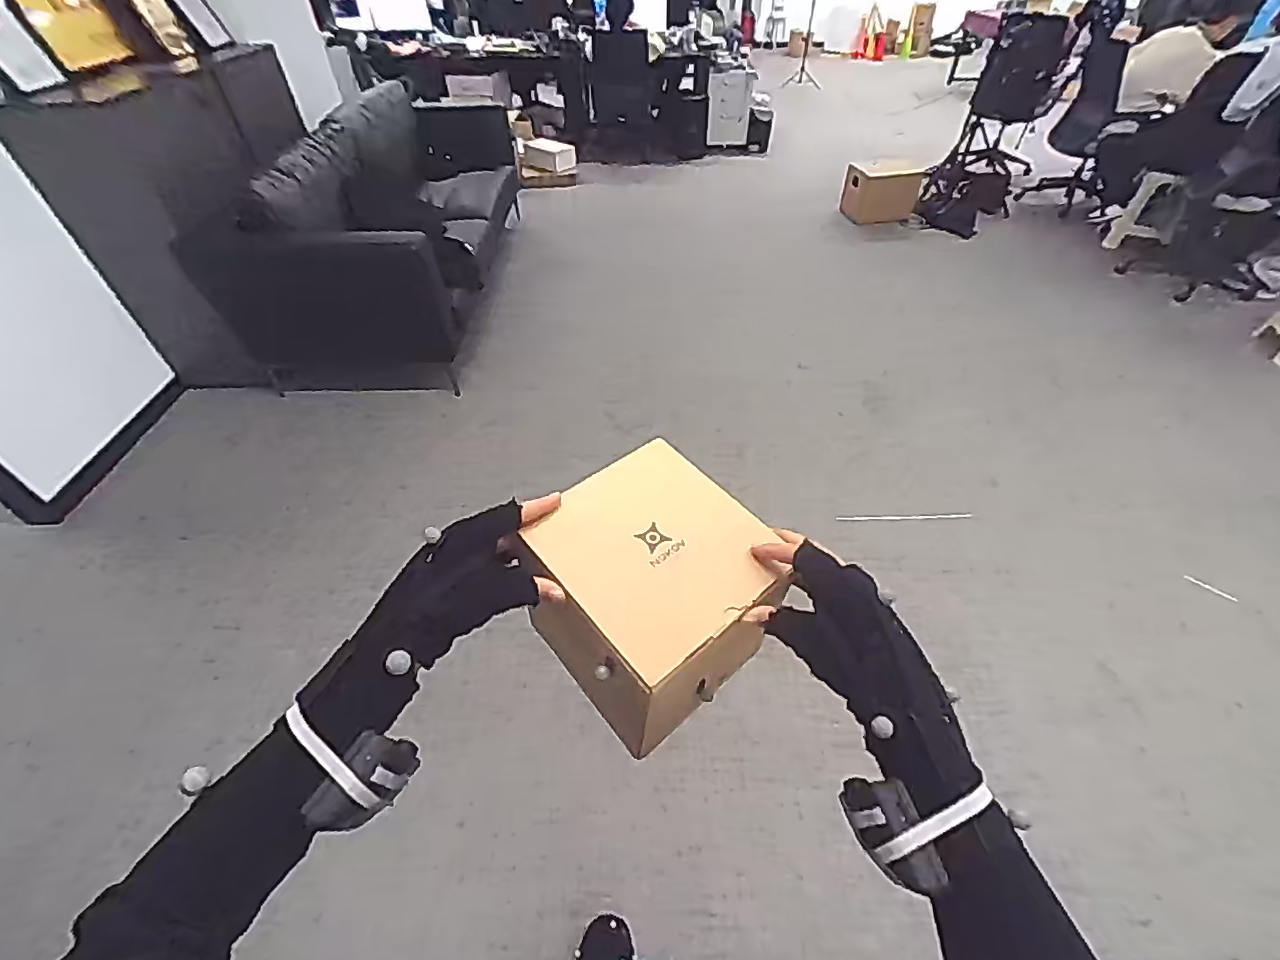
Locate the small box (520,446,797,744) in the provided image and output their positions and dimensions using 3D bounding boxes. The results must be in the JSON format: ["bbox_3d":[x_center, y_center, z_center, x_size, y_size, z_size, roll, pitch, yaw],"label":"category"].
[{"bbox_3d":[0.007,0.106,0.504,0.168,0.176,0.179,-31,58,-28],"label":"small box"}]
